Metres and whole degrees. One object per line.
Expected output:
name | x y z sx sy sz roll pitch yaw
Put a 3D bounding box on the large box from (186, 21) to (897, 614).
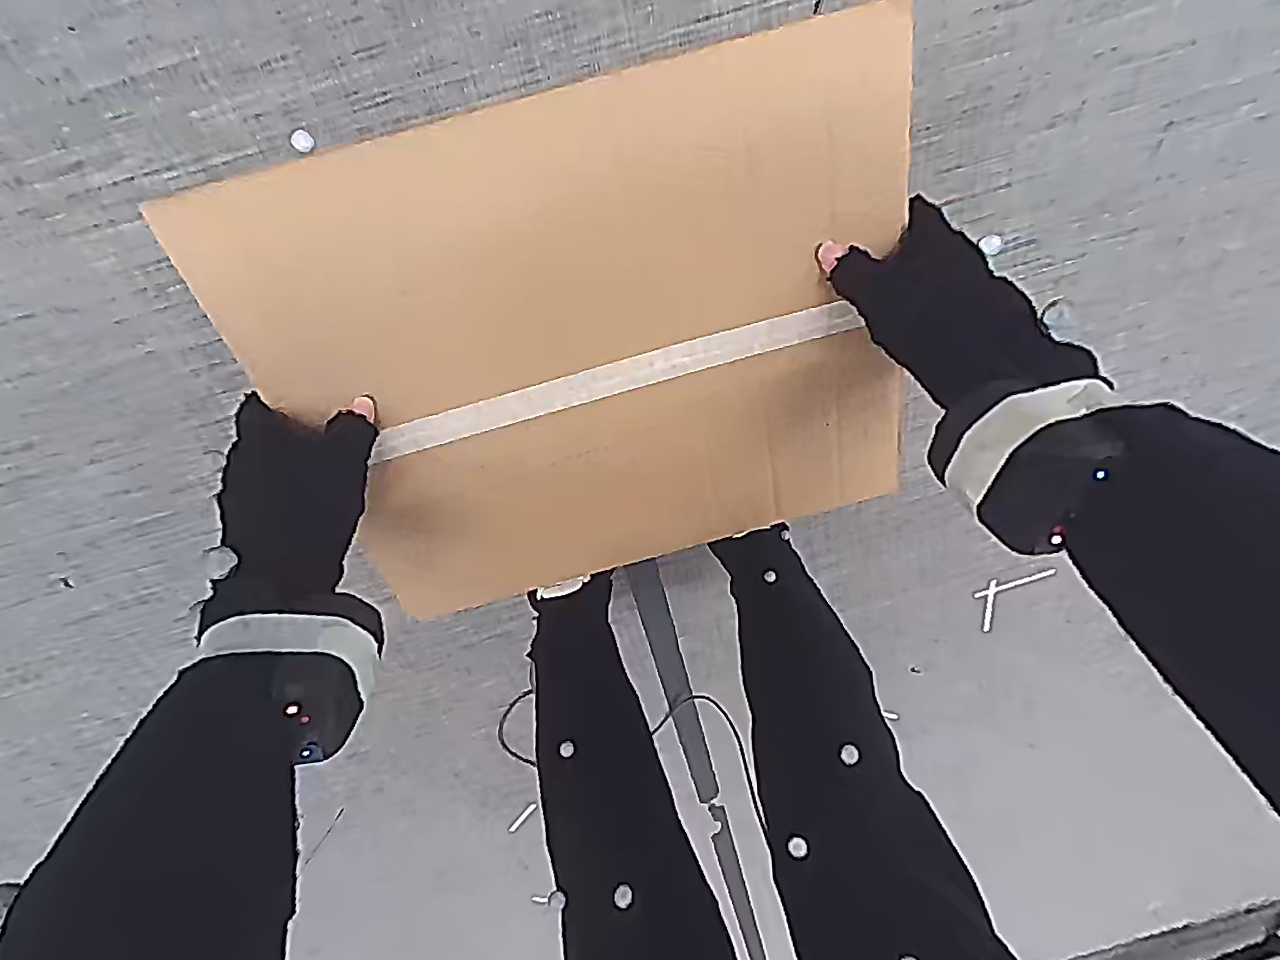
large box | -0.043 -0.141 0.491 0.408 0.320 0.320 -15 123 0
